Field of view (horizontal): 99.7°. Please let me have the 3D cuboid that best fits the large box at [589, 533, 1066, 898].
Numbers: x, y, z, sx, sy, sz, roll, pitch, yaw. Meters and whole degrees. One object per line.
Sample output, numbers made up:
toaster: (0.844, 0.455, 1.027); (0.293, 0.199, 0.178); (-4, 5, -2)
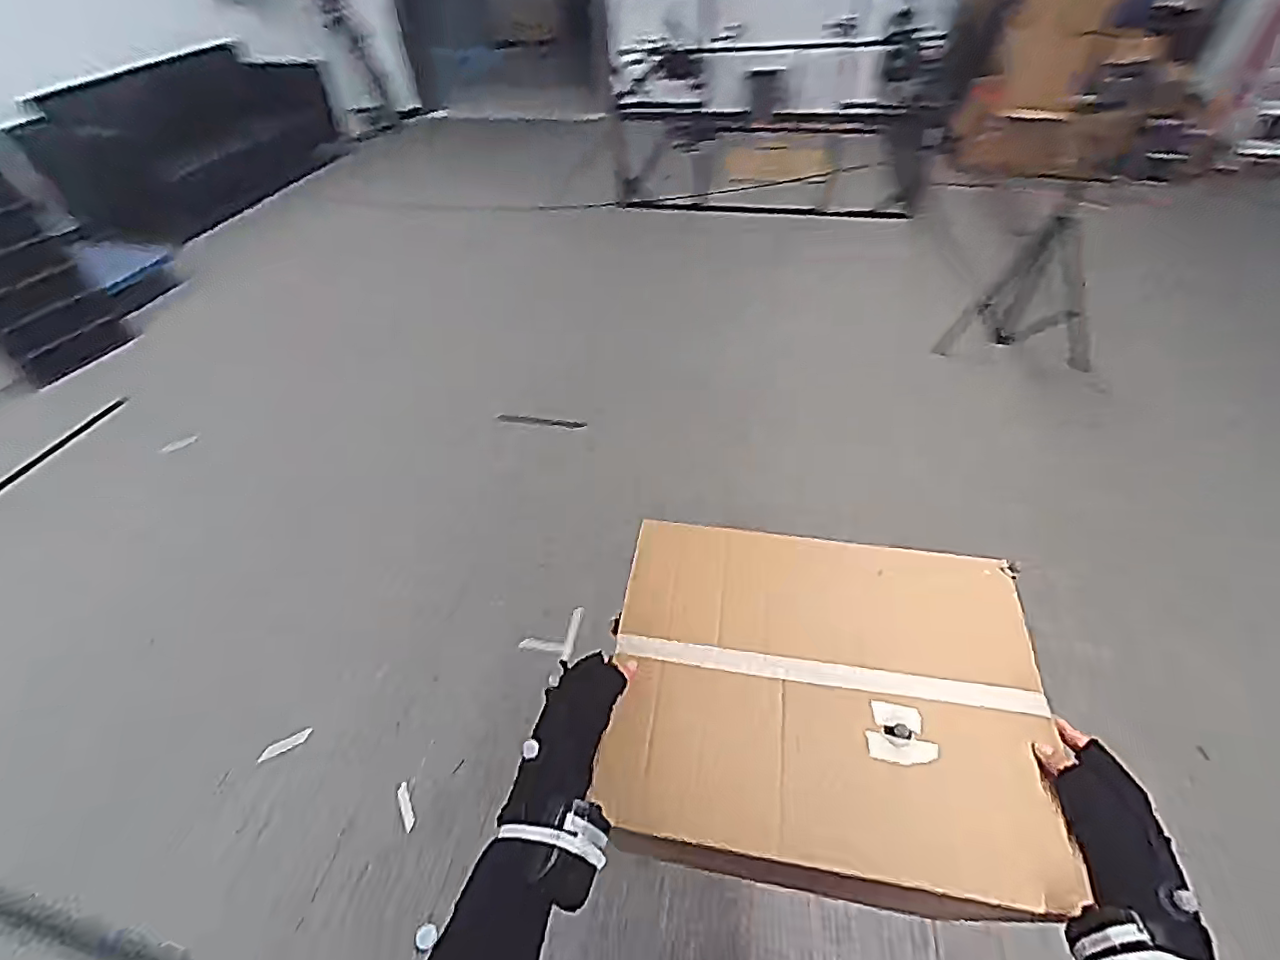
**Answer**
large box: (0.173, 0.289, 0.663); (0.408, 0.320, 0.320); (5, 53, 7)
